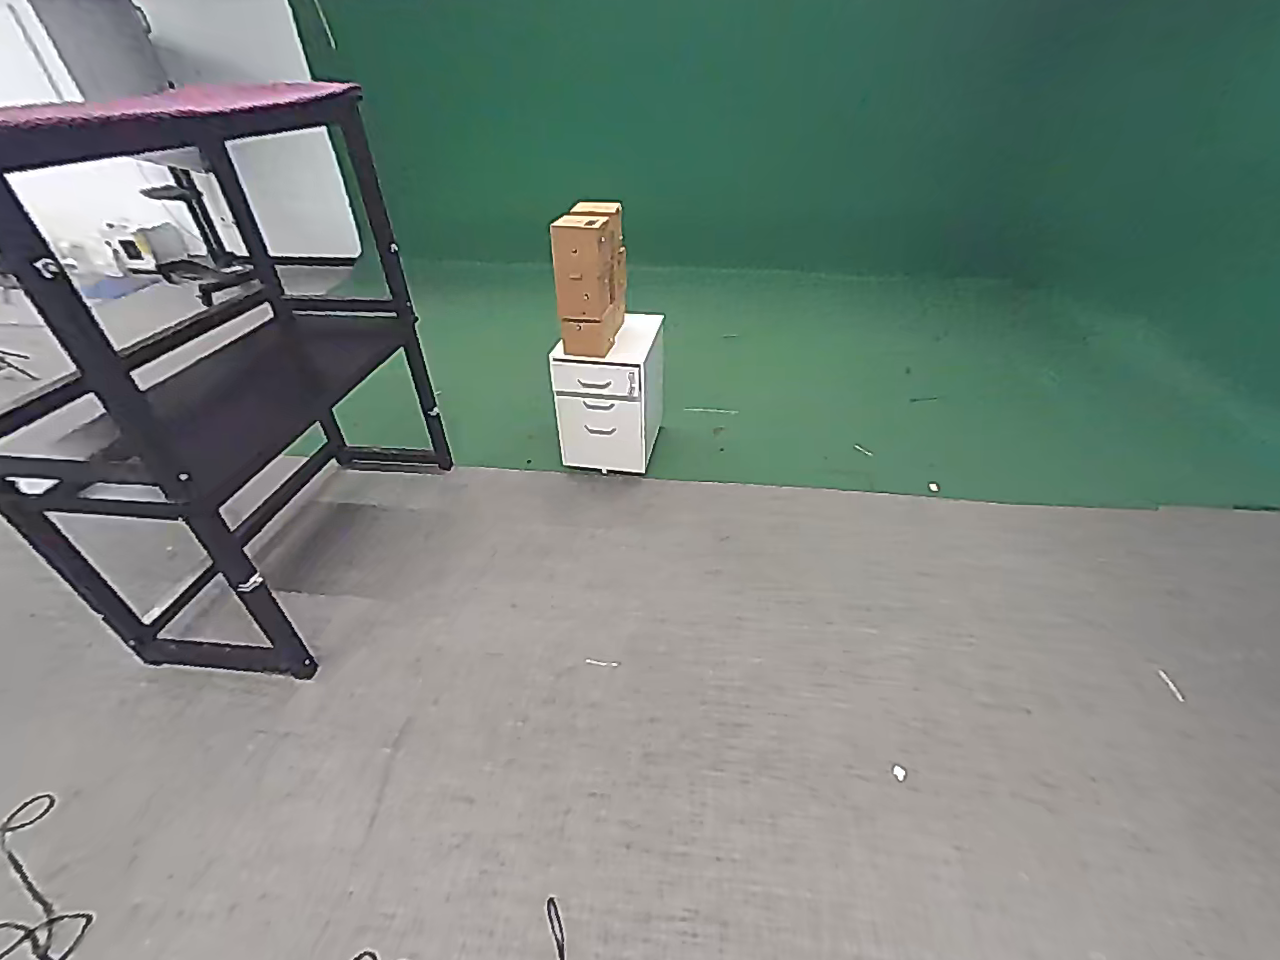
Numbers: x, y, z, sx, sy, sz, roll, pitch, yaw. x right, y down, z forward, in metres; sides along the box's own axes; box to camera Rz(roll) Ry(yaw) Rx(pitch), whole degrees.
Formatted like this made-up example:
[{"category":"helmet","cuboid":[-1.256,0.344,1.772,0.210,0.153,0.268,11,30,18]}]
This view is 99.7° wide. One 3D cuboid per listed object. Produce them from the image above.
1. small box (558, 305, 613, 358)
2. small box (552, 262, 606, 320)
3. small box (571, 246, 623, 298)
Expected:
[{"category":"small box","cuboid":[-0.217,-0.606,2.191,0.179,0.176,0.168,8,38,11]},{"category":"small box","cuboid":[-0.228,-0.726,2.081,0.168,0.176,0.179,7,37,8]},{"category":"small box","cuboid":[-0.177,-0.874,2.276,0.179,0.176,0.168,9,38,11]}]
